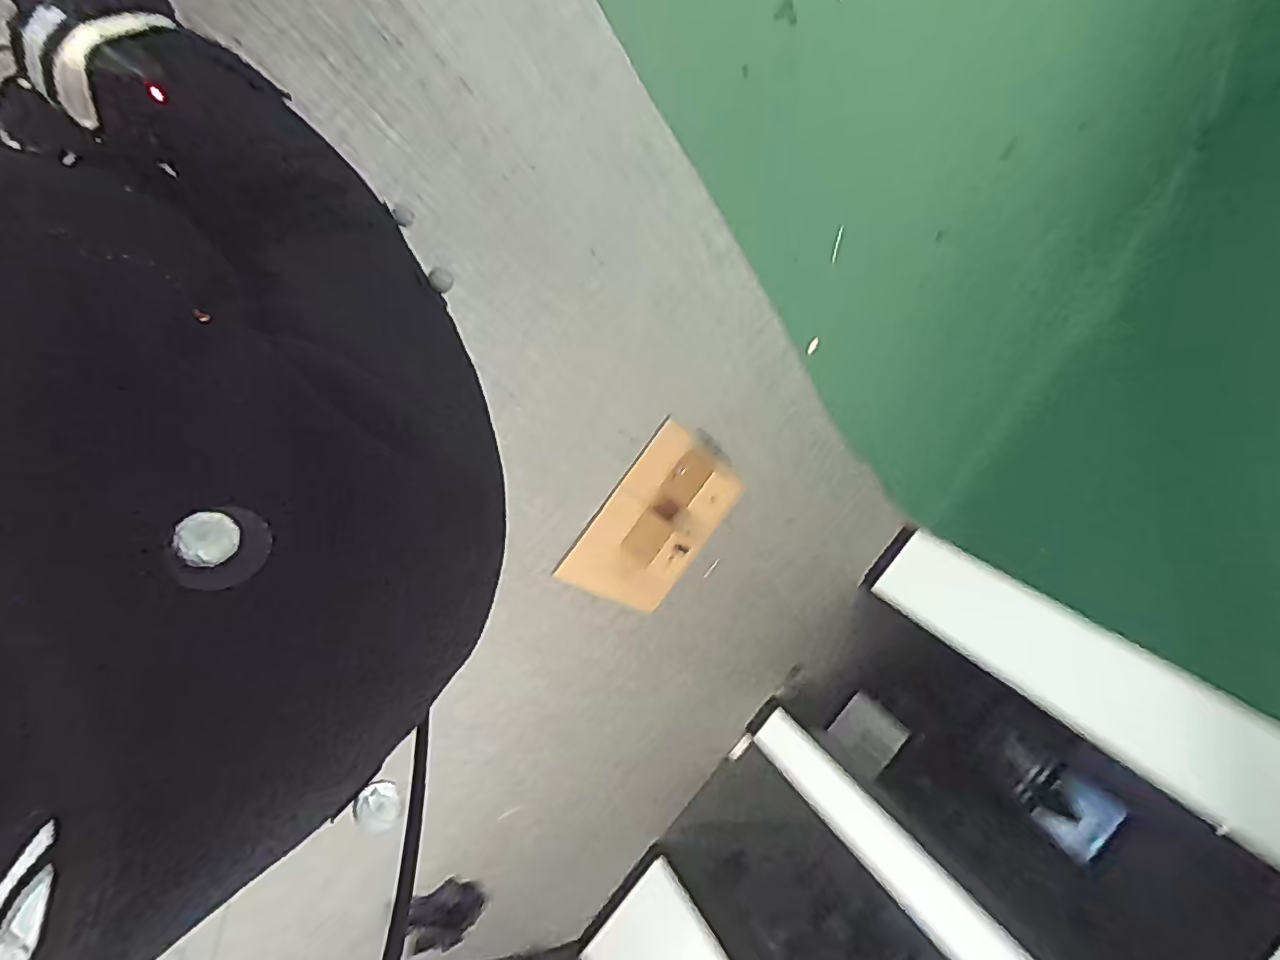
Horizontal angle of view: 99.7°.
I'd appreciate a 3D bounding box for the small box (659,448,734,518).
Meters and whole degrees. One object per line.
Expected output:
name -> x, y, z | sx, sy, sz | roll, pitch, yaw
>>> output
small box -> 0.205, 0.007, 1.981 | 0.168, 0.176, 0.179 | -54, 135, 1
